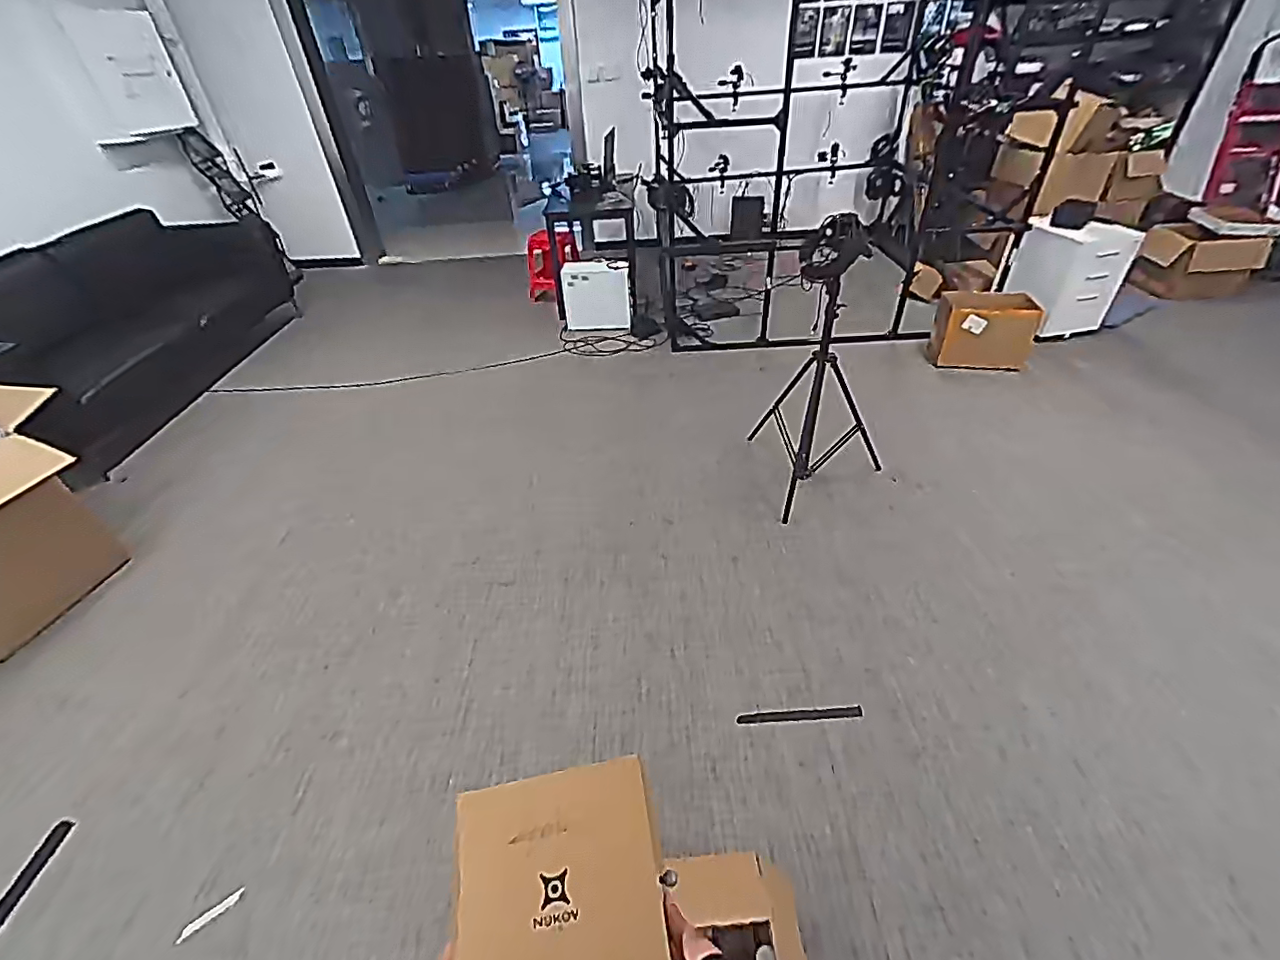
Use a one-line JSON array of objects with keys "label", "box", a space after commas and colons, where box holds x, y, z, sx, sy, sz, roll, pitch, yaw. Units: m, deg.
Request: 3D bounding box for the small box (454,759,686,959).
[{"label": "small box", "box": [-0.055, 0.375, 0.482, 0.168, 0.176, 0.179, -11, 51, -3]}]
